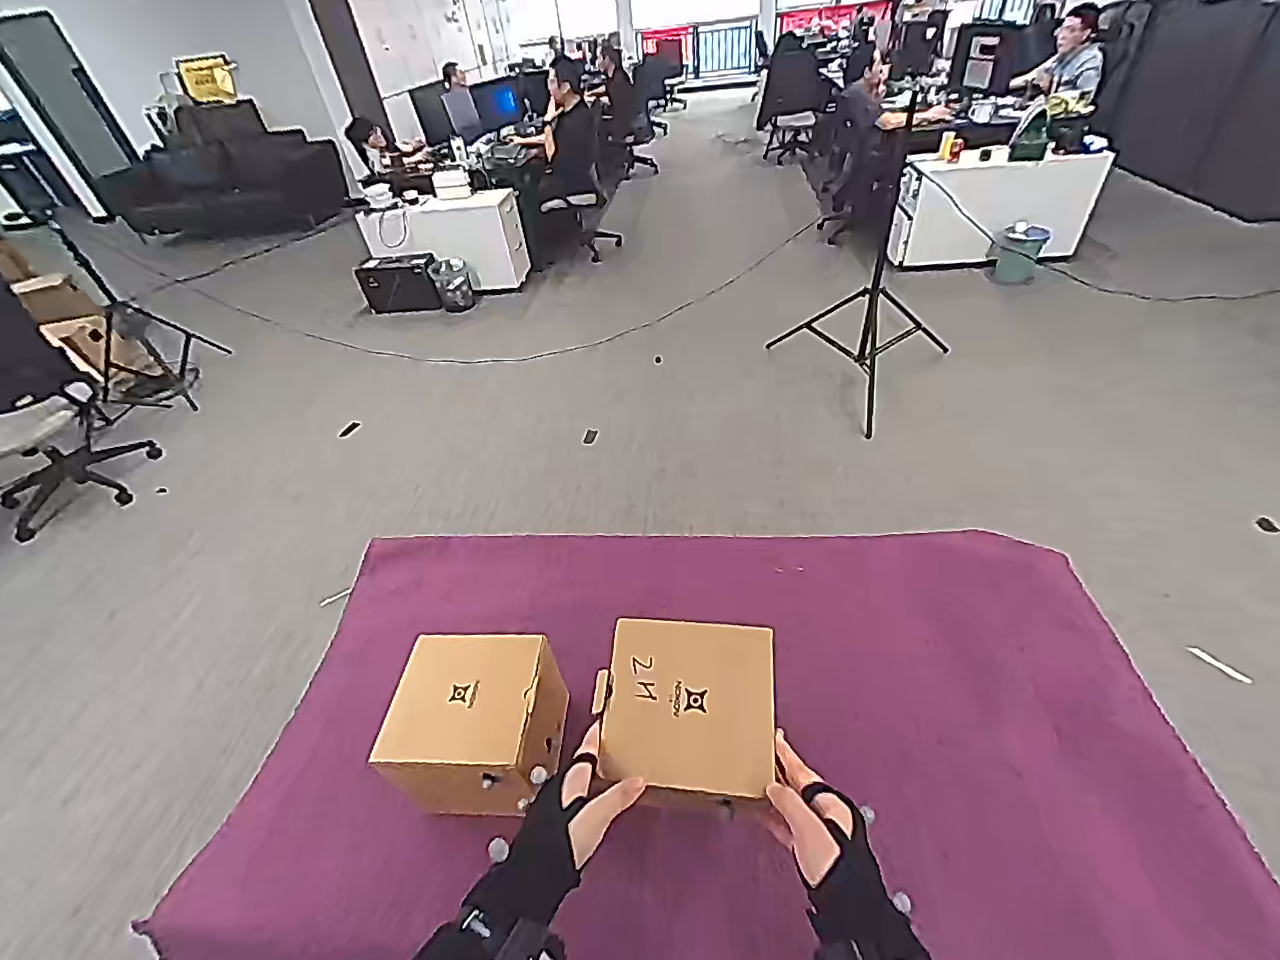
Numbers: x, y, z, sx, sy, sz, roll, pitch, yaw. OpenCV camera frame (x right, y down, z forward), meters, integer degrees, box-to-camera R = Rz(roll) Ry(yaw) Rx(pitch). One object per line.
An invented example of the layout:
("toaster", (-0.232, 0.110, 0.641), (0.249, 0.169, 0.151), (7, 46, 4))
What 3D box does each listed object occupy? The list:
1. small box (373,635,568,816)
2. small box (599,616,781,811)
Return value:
("small box", (-0.204, 0.321, 0.708), (0.179, 0.176, 0.168), (-2, 41, 5))
("small box", (0.064, 0.271, 0.623), (0.179, 0.176, 0.168), (0, 52, 11))
